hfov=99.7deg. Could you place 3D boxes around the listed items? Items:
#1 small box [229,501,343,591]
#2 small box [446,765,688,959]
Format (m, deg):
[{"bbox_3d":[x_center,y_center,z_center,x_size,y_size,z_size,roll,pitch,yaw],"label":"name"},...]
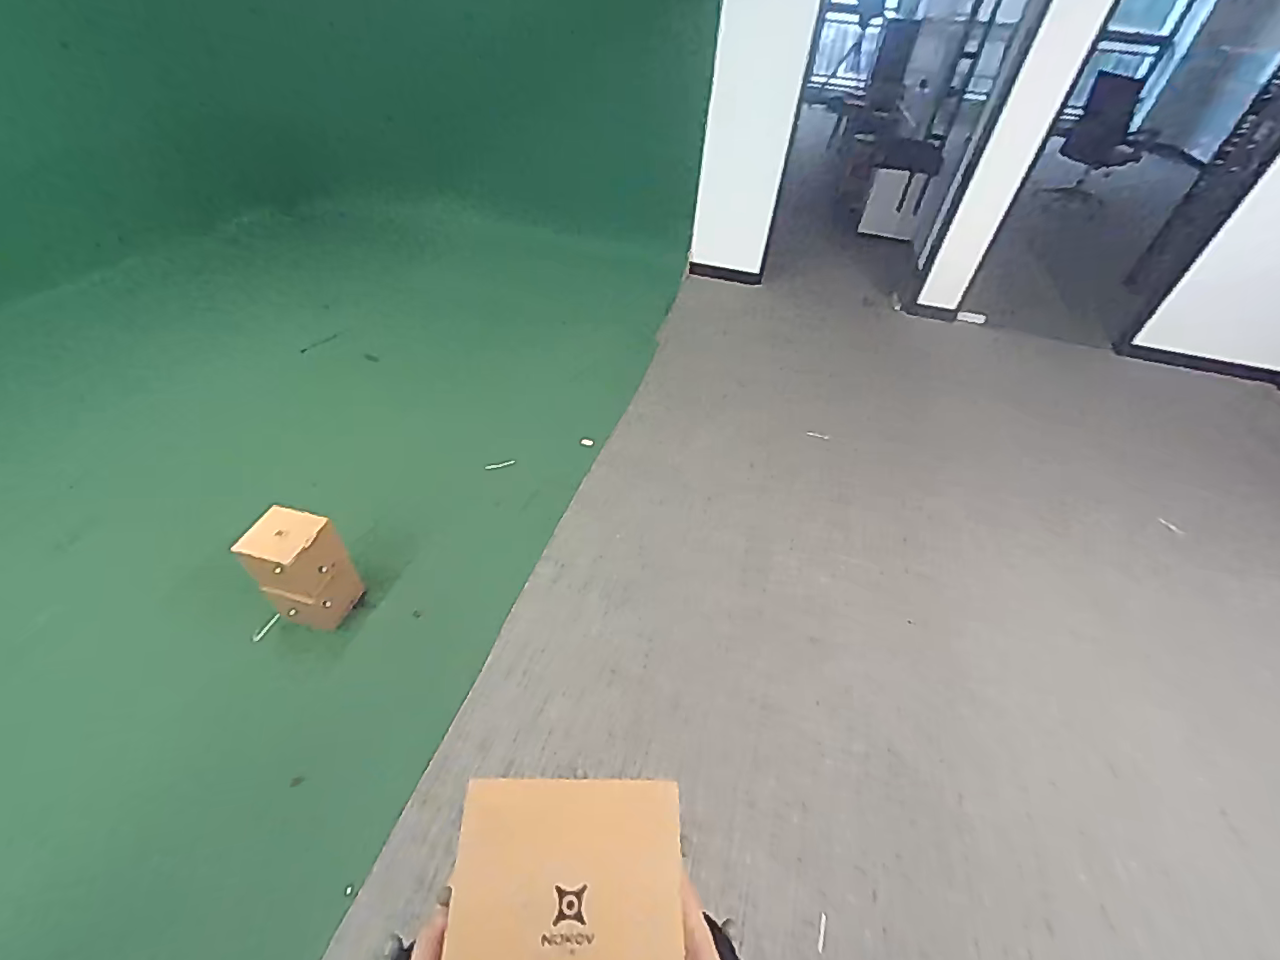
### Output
[{"bbox_3d":[-0.972,0.186,1.501,0.179,0.176,0.168,12,45,6],"label":"small box"},{"bbox_3d":[-0.058,0.344,0.444,0.168,0.176,0.179,5,57,-6],"label":"small box"}]
